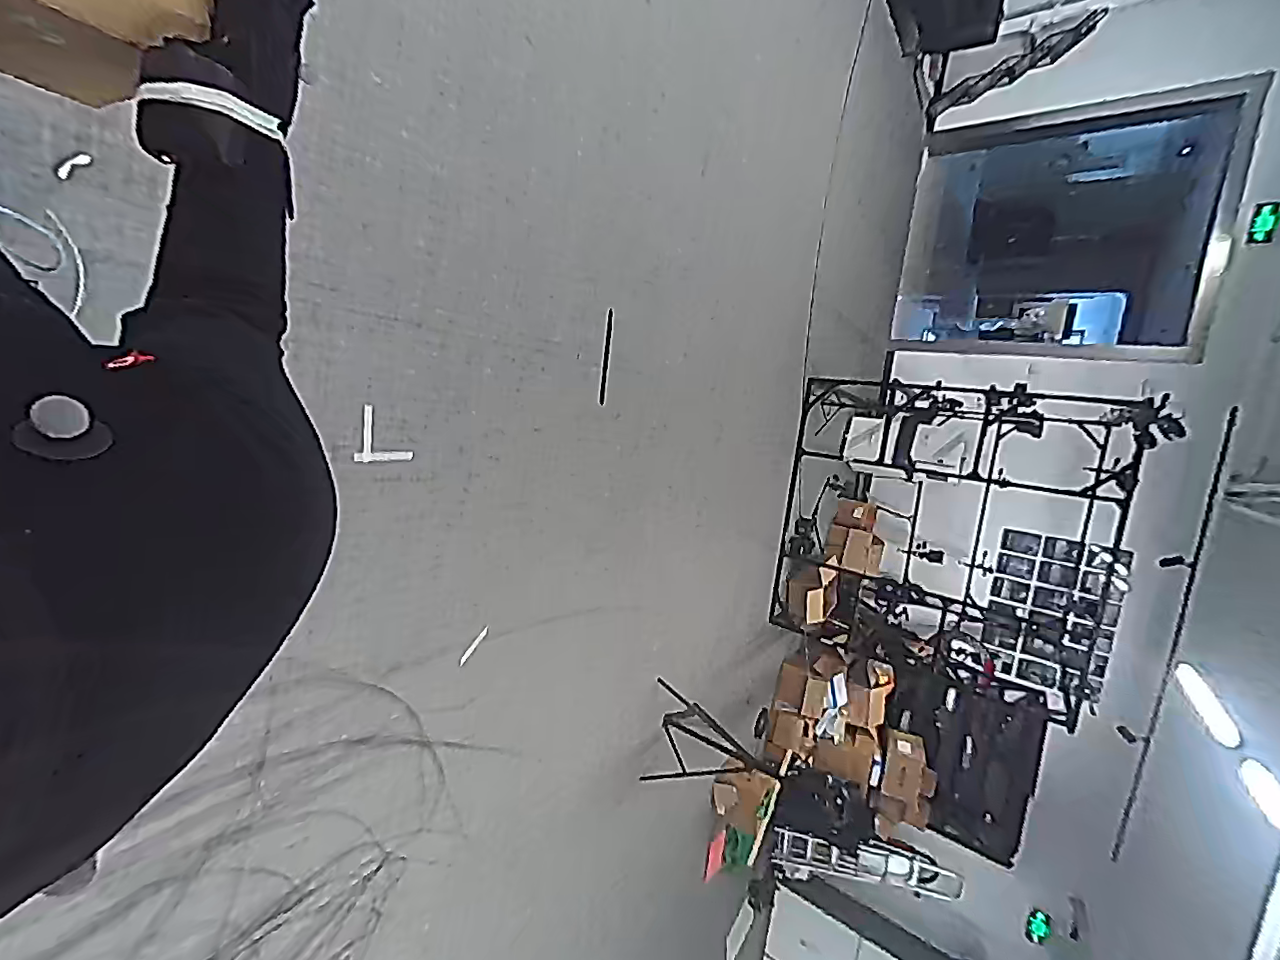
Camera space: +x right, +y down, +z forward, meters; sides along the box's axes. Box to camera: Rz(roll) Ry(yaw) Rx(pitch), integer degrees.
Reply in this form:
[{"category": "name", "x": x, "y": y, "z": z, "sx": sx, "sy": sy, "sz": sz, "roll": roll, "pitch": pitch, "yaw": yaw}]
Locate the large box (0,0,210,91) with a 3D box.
[{"category": "large box", "x": -0.510, "y": -0.482, "z": 0.276, "sx": 0.408, "sy": 0.320, "sz": 0.320, "roll": -2, "pitch": 110, "yaw": -56}]
